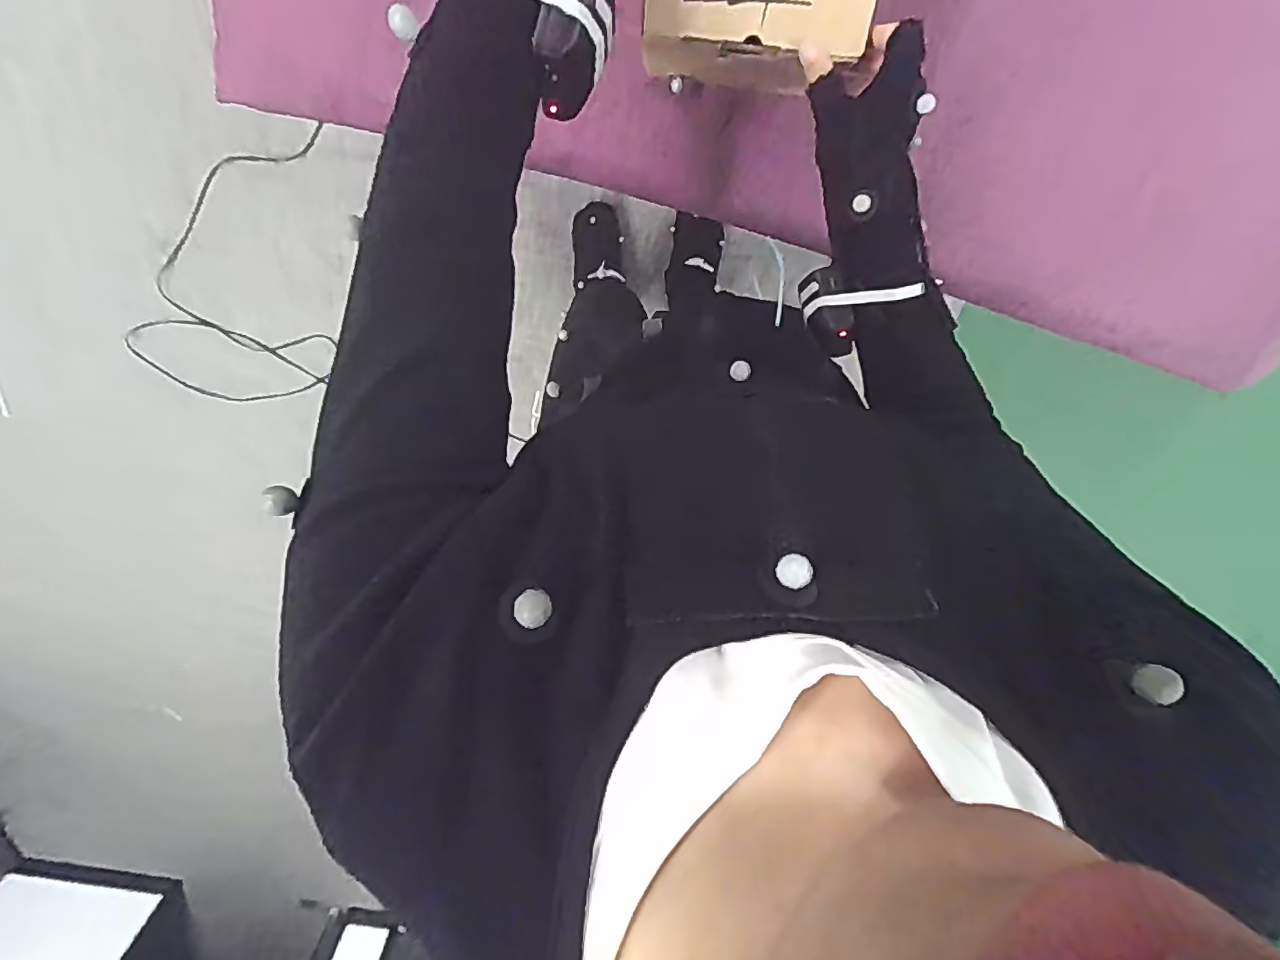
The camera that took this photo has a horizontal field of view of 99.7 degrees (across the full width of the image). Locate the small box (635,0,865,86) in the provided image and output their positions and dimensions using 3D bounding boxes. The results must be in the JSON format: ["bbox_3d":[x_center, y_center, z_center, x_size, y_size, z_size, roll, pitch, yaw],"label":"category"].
[{"bbox_3d":[0.091,-0.436,0.429,0.168,0.176,0.179,6,118,-1],"label":"small box"}]
